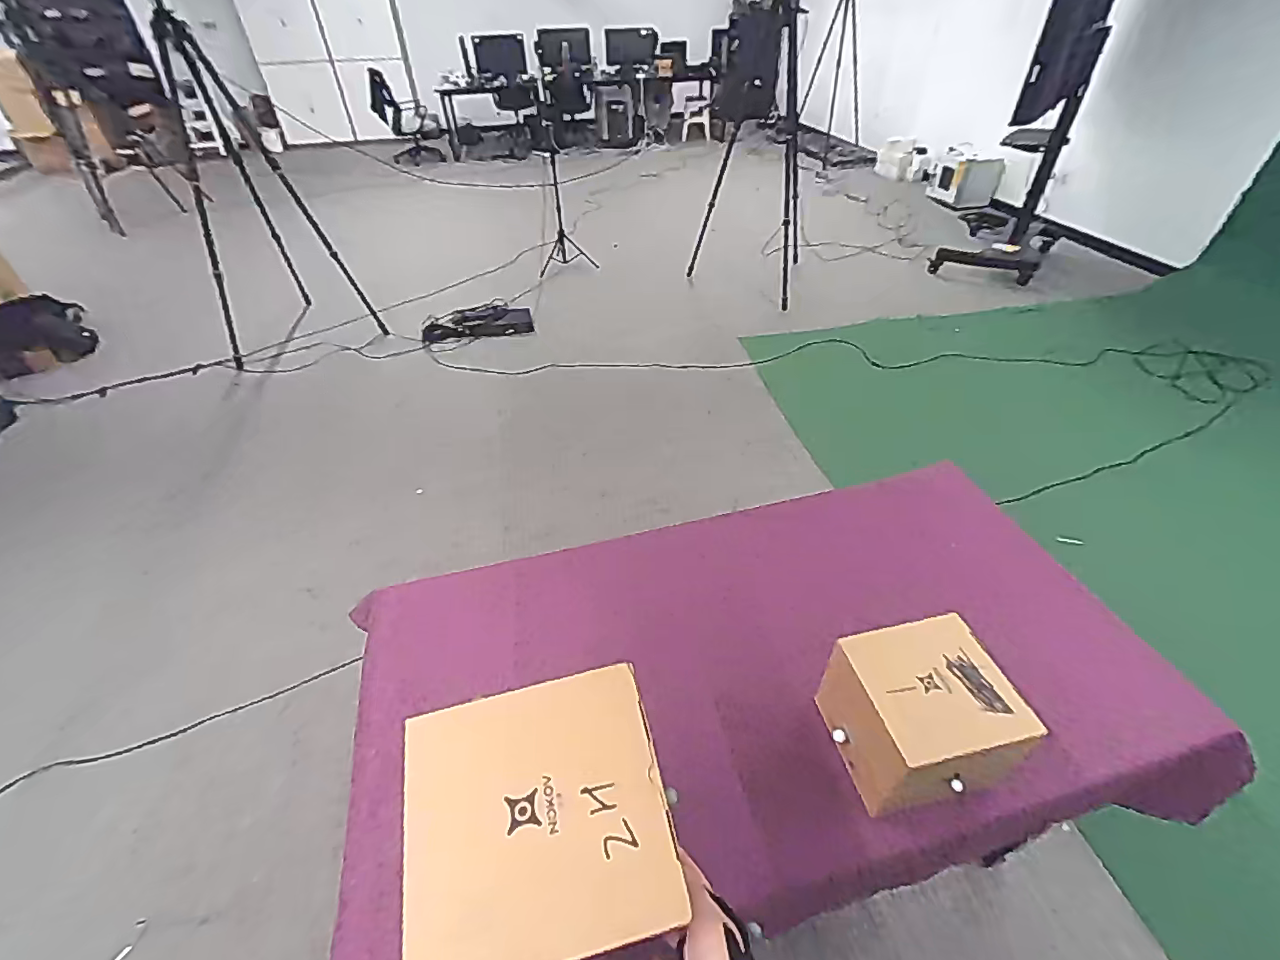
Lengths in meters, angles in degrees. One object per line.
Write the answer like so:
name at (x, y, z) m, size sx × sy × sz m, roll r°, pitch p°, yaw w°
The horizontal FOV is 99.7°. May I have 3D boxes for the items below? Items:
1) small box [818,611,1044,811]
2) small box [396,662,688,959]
small box at (0.357, 0.301, 0.705) m, size 0.179 × 0.176 × 0.168 m, roll -10°, pitch 42°, yaw -7°
small box at (-0.069, 0.268, 0.423) m, size 0.179 × 0.176 × 0.168 m, roll -11°, pitch 53°, yaw -8°
